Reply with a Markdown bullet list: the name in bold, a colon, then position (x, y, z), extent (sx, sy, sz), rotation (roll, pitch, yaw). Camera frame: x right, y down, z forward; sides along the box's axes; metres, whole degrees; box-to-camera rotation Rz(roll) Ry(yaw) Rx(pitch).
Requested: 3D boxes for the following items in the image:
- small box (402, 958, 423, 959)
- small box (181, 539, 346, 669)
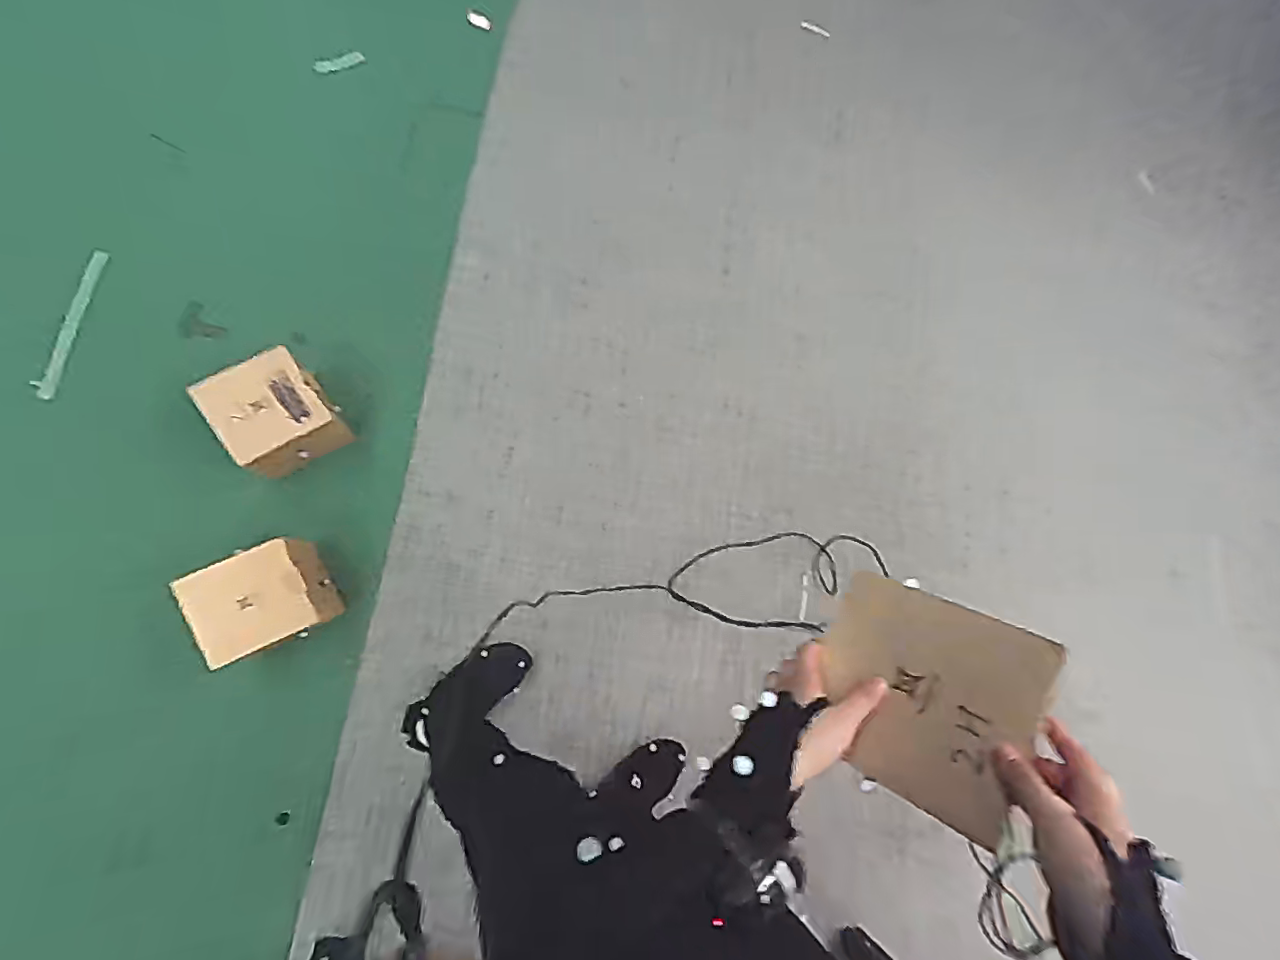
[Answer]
- **small box**: position (-0.387, 0.989, 0.948), extent (0.179, 0.176, 0.168), rotation (16, 76, -11)
- **small box**: position (-0.684, 0.226, 1.004), extent (0.179, 0.176, 0.168), rotation (-26, 88, -19)
